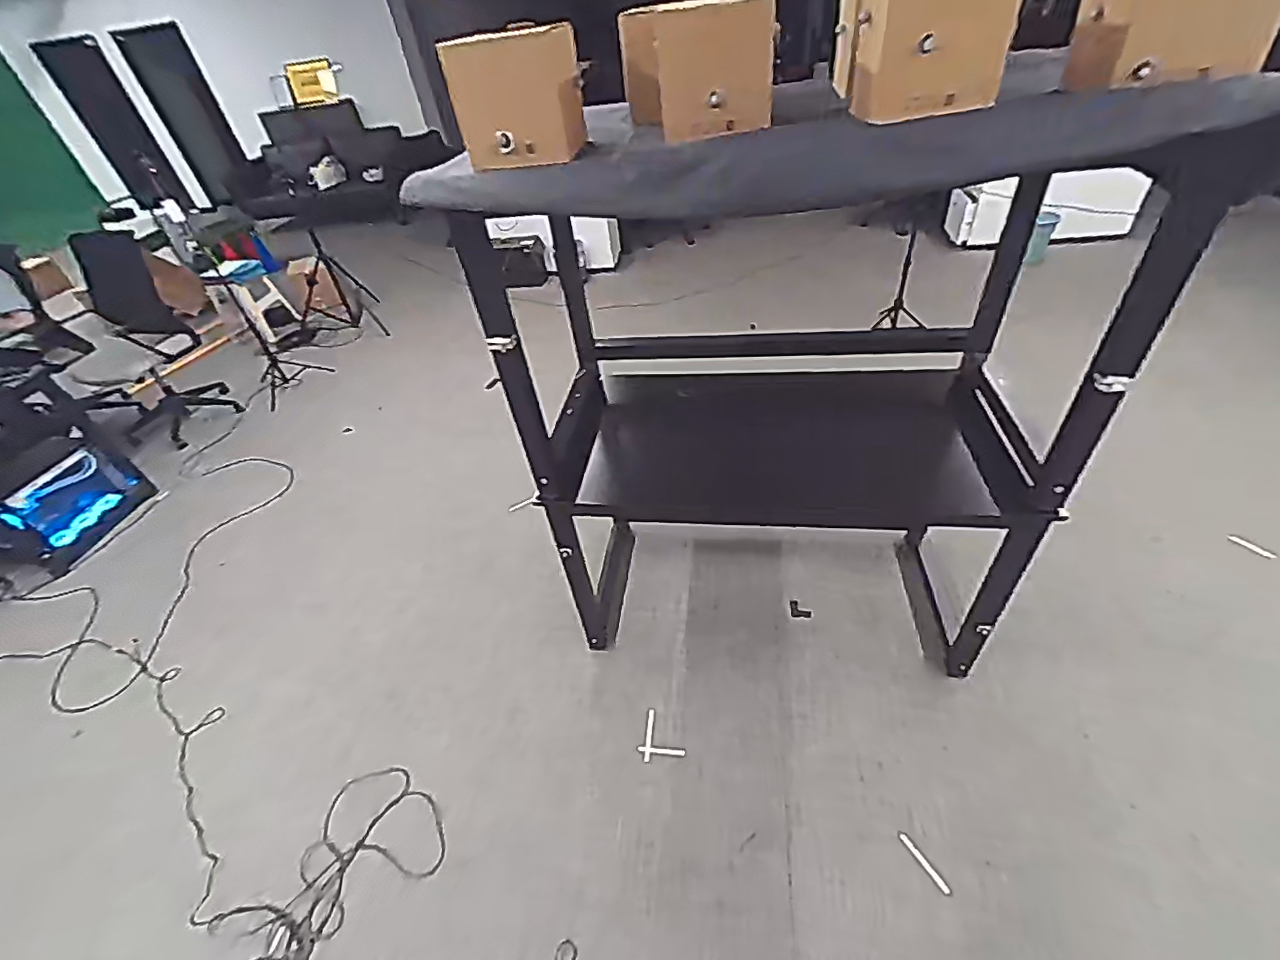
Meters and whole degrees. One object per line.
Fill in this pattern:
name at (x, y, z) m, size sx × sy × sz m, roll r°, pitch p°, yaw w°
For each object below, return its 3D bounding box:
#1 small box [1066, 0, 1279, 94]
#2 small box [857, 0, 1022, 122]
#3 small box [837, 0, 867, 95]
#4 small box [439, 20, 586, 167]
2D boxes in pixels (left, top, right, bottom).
small box at (0.714, -0.623, 0.714) m, size 0.168 × 0.176 × 0.179 m, roll 2°, pitch 39°, yaw 13°
small box at (0.419, -0.625, 0.774) m, size 0.168 × 0.176 × 0.179 m, roll 0°, pitch 40°, yaw 9°
small box at (0.459, -0.810, 0.977) m, size 0.168 × 0.176 × 0.179 m, roll 0°, pitch 42°, yaw 10°
small box at (-0.188, -0.614, 0.863) m, size 0.168 × 0.176 × 0.179 m, roll -1°, pitch 41°, yaw 9°
